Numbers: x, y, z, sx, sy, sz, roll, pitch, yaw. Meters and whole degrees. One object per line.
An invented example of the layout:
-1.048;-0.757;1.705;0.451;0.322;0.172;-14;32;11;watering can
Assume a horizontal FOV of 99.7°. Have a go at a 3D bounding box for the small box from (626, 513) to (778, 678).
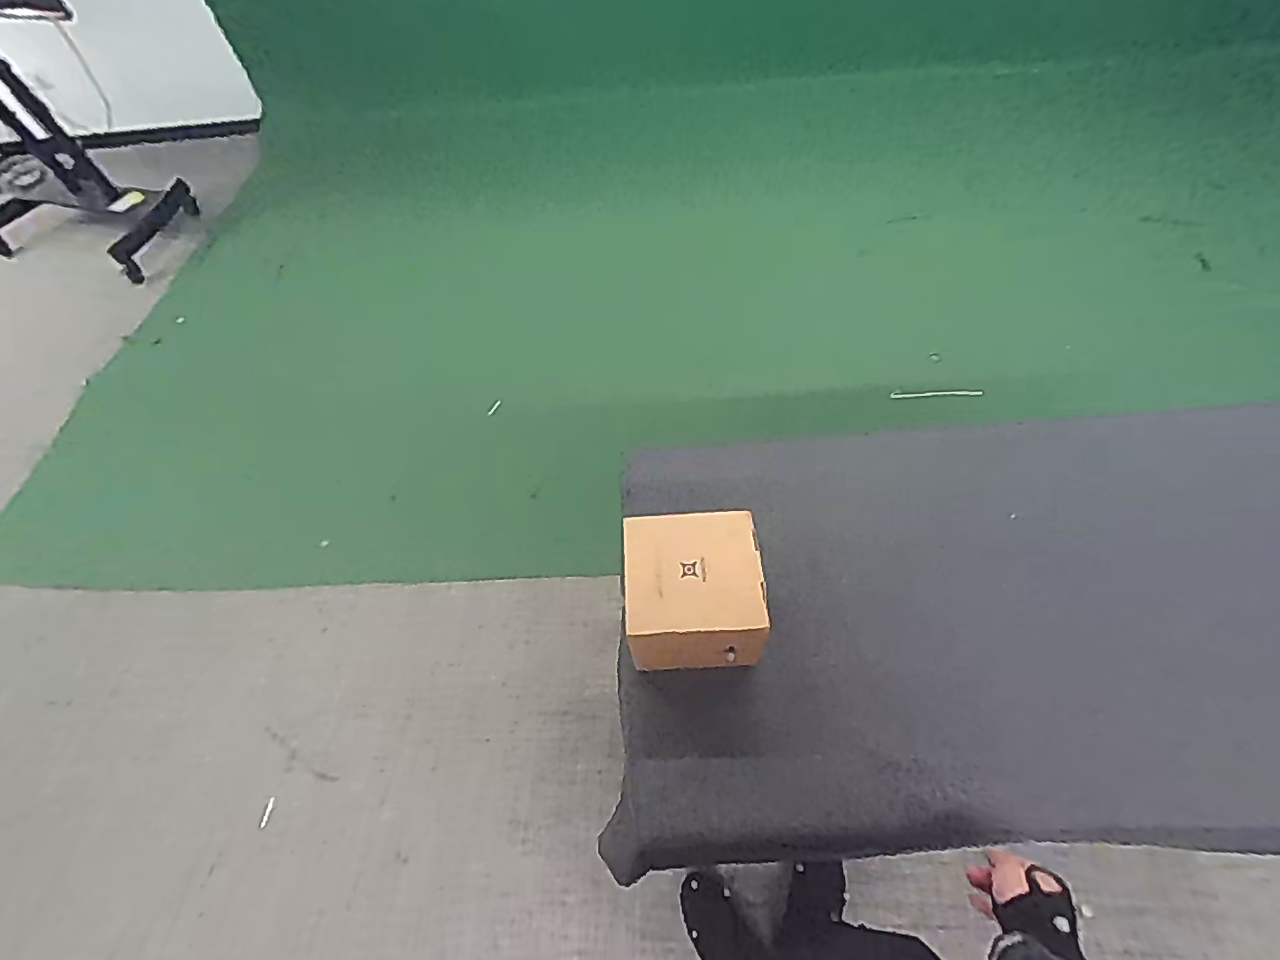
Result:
0.073;0.162;0.739;0.179;0.176;0.168;-4;54;0;small box
